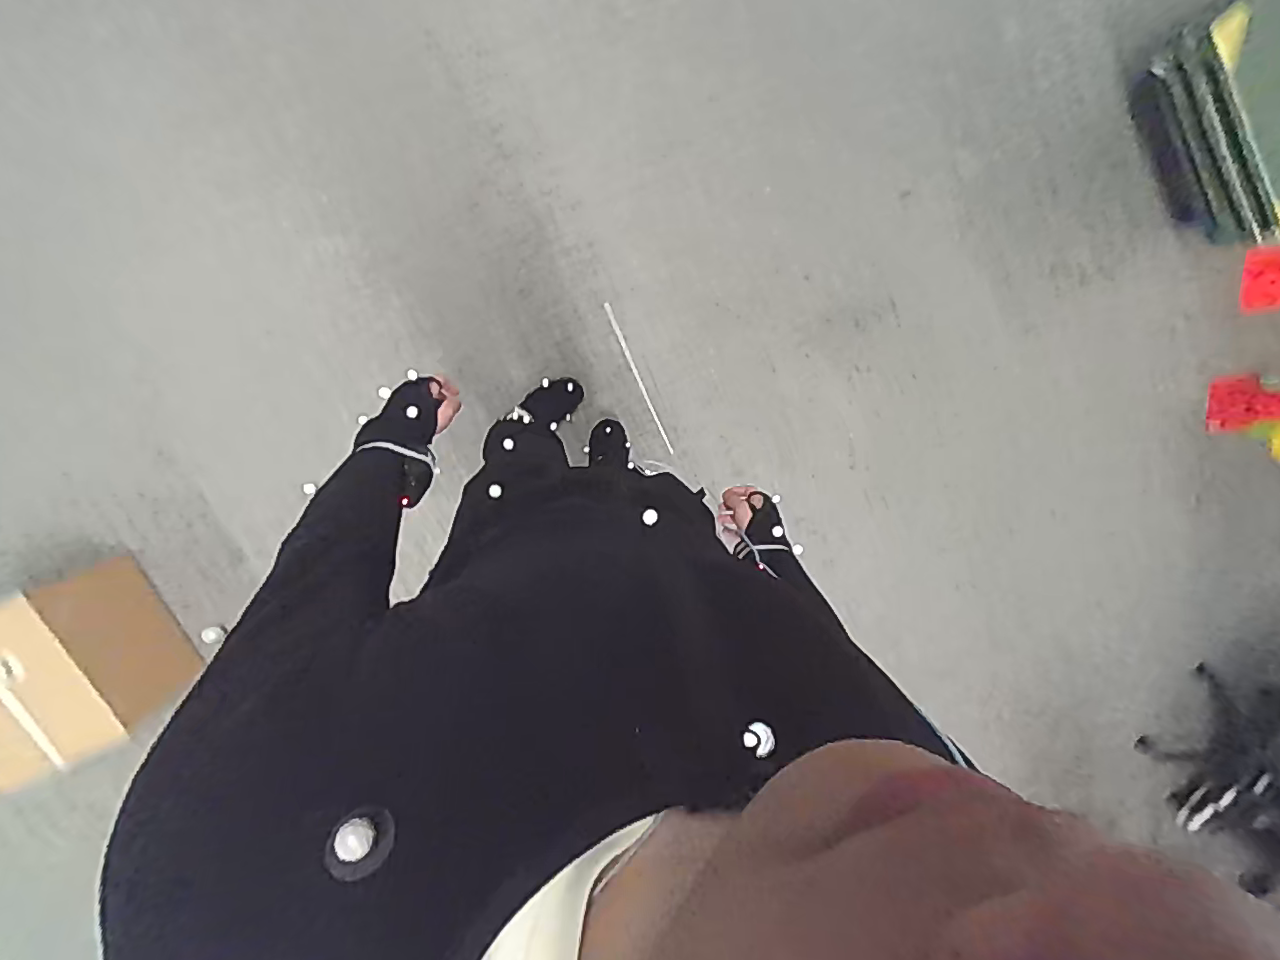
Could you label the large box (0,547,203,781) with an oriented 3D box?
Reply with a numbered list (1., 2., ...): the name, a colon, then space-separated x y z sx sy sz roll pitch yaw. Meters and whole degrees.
1. large box: -1.443 0.440 1.362 0.320 0.320 0.408 -23 102 -4
